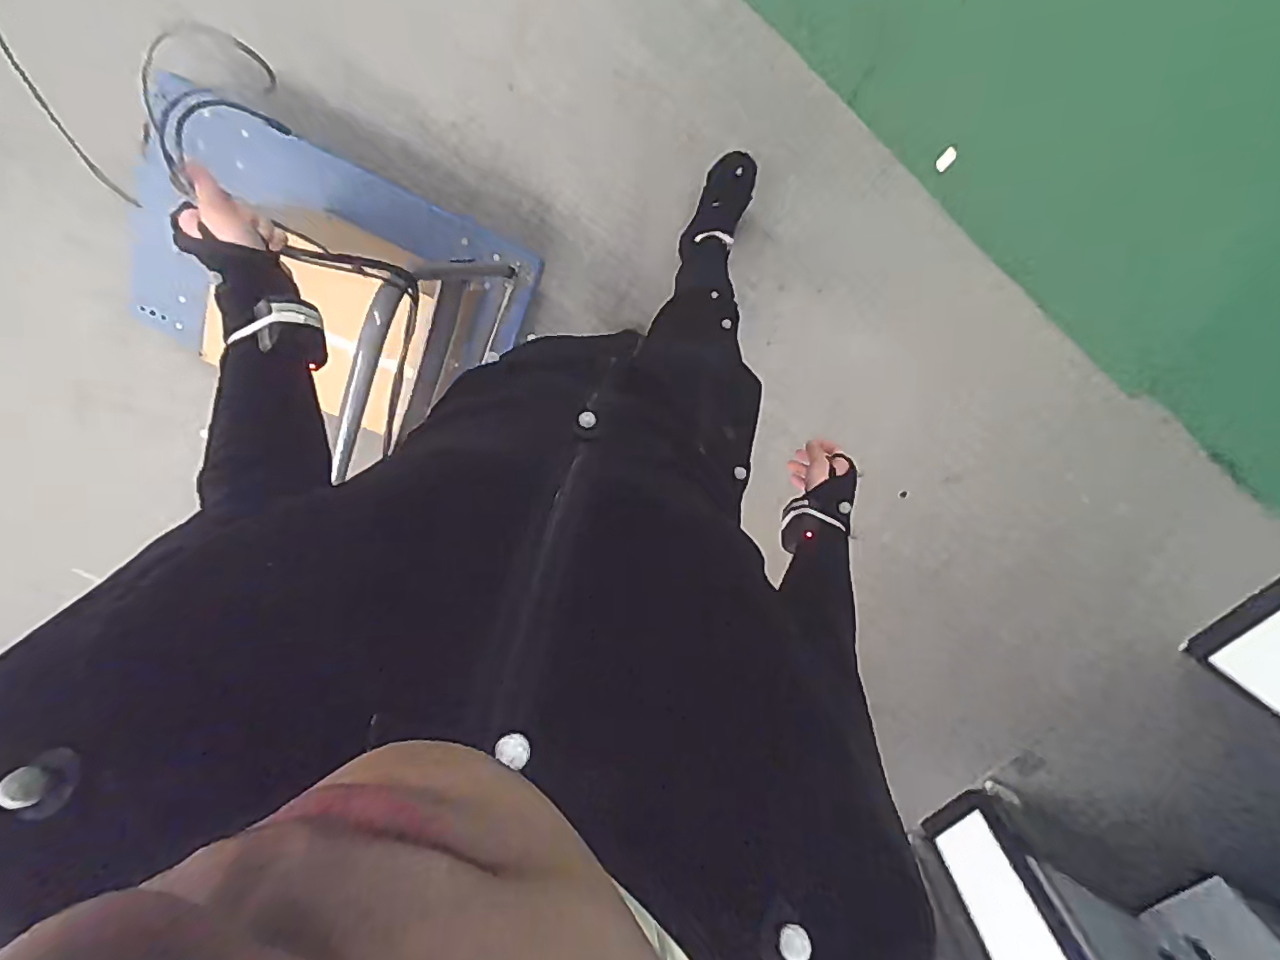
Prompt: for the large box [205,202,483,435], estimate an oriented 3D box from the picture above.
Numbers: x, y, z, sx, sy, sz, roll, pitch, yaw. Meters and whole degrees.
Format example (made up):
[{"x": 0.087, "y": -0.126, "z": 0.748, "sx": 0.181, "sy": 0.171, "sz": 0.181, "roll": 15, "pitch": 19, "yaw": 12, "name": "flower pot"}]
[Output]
[{"x": -0.613, "y": -0.353, "z": 1.174, "sx": 0.408, "sy": 0.320, "sz": 0.320, "roll": 24, "pitch": 112, "yaw": -8, "name": "large box"}]
